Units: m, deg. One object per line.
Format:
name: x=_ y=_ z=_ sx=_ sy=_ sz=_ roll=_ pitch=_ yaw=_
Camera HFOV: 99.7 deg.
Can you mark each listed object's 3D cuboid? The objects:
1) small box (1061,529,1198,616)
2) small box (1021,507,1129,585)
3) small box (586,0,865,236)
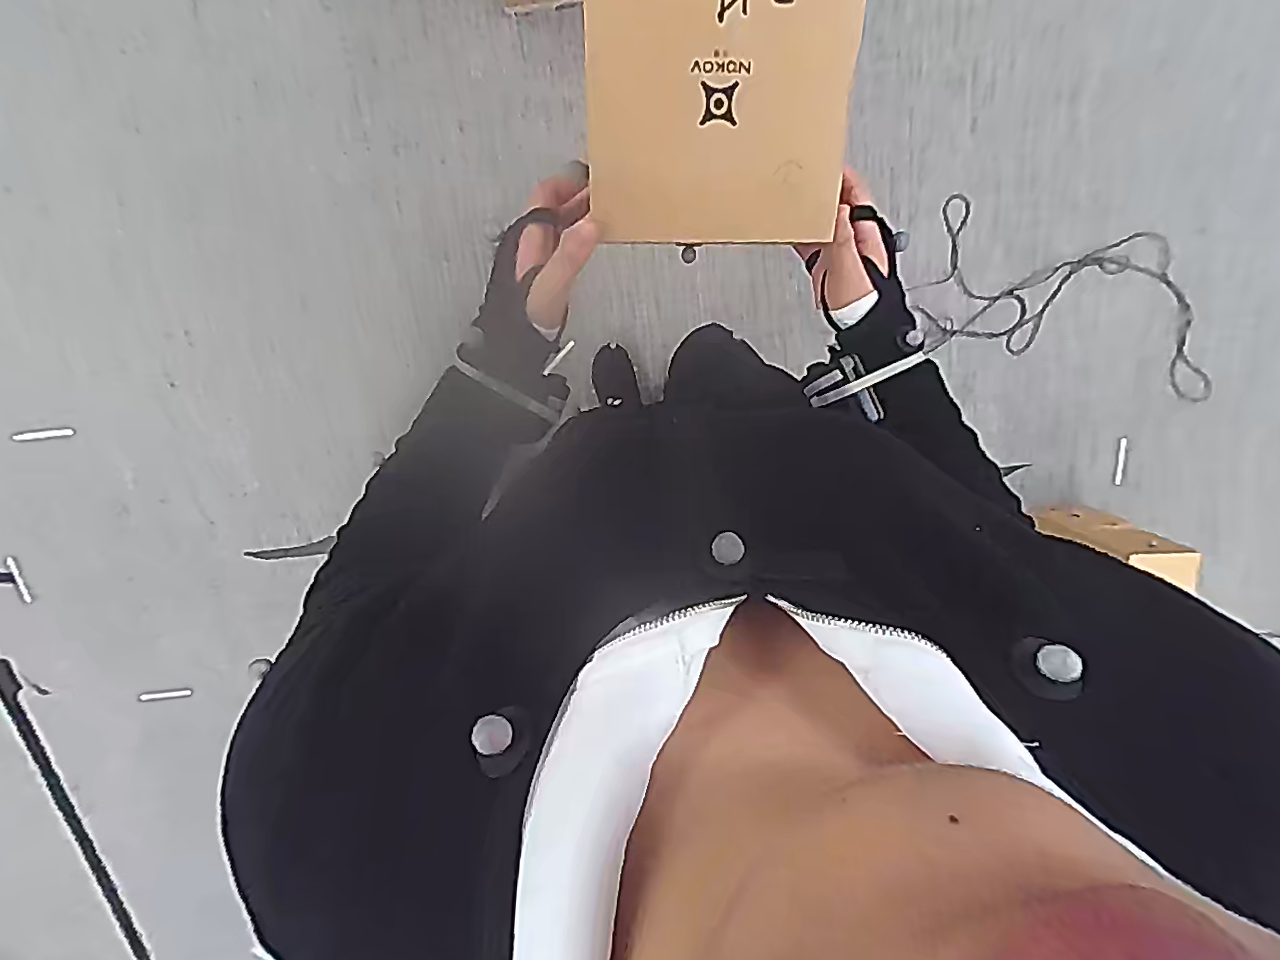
small box: x=1.222 y=0.227 z=1.362 sx=0.179 sy=0.176 sz=0.168 roll=-2 pitch=104 yaw=-1
small box: x=1.213 y=0.181 z=1.519 sx=0.168 sy=0.176 sz=0.179 roll=-6 pitch=104 yaw=0
small box: x=0.047 y=-0.279 z=0.404 sx=0.168 sy=0.176 sz=0.179 roll=-1 pitch=113 yaw=-3
